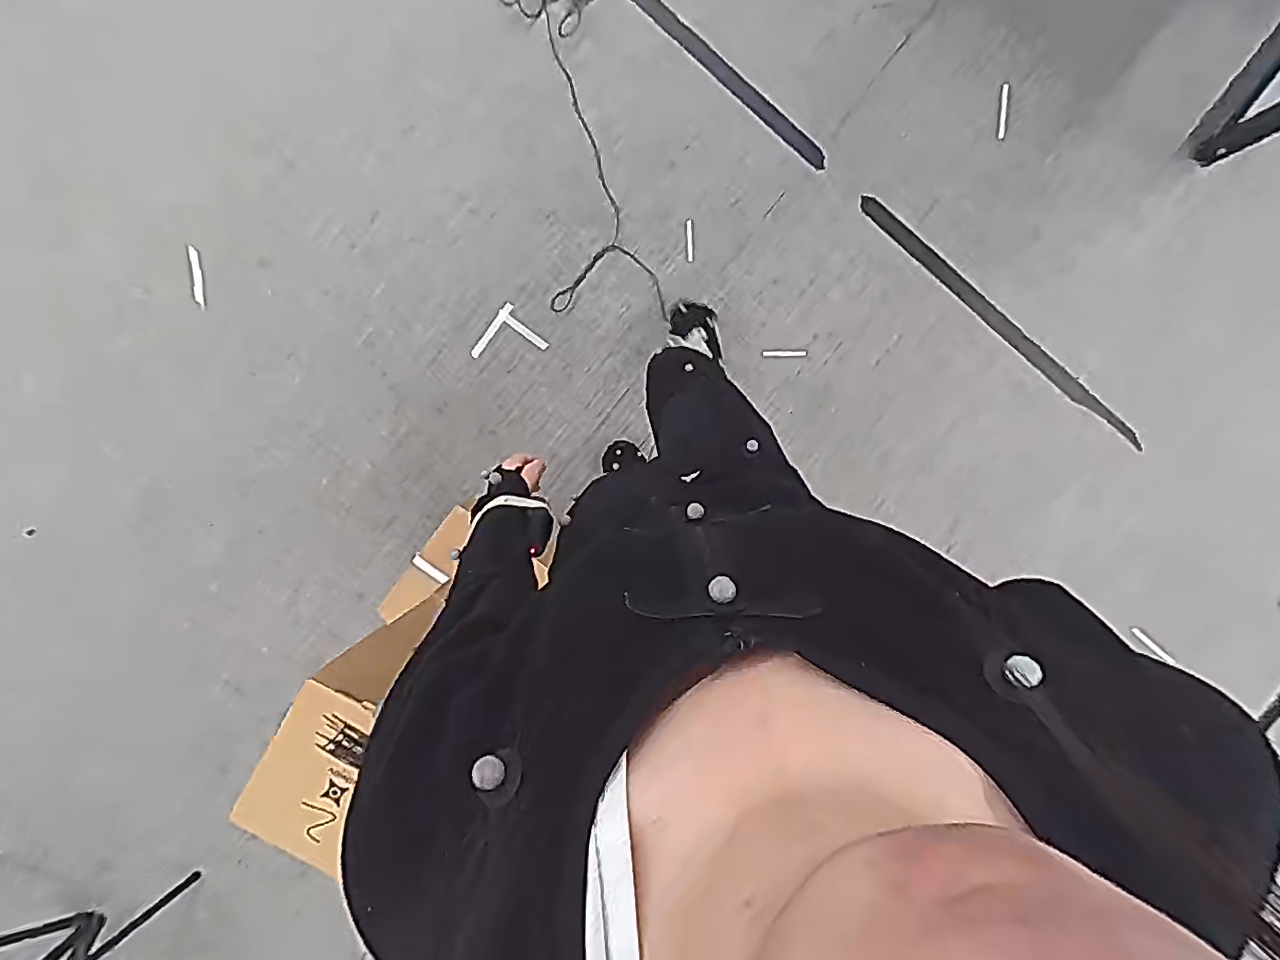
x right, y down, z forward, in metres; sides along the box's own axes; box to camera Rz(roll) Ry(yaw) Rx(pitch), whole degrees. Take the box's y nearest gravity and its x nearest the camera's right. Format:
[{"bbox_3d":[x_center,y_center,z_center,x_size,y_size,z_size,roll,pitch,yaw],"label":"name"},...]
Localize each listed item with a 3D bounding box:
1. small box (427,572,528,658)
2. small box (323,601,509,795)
[{"bbox_3d":[-0.316,0.288,0.960,0.168,0.176,0.179,35,93,-2],"label":"small box"},{"bbox_3d":[-0.311,0.303,0.796,0.168,0.176,0.179,31,92,-2],"label":"small box"}]
